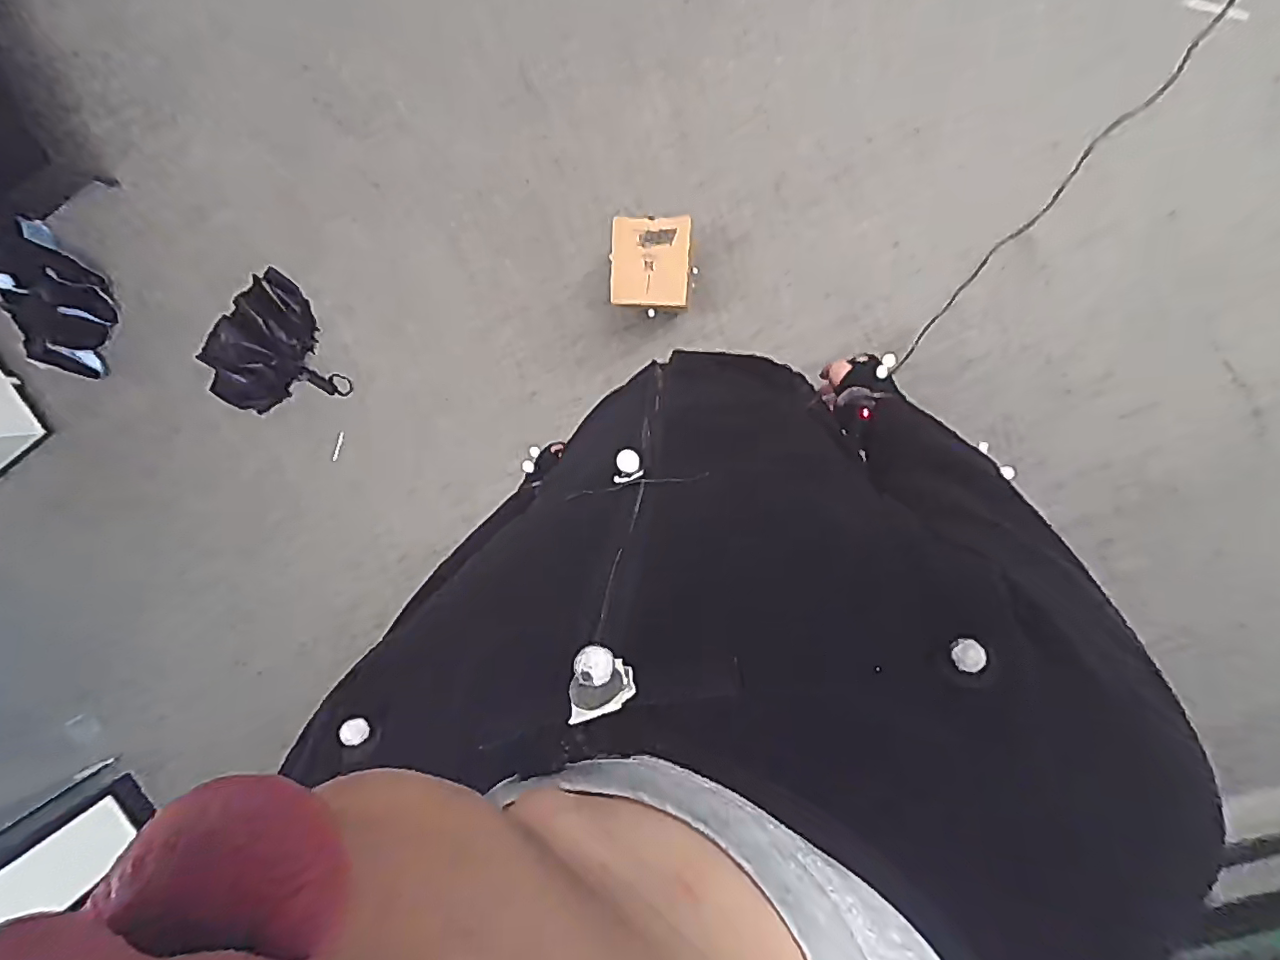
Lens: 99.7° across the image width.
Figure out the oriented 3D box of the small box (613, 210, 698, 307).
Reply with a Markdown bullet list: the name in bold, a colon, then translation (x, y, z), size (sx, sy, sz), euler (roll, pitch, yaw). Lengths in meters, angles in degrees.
- **small box**: translation (0.039, -0.490, 1.212), size (0.168, 0.176, 0.179), euler (5, 105, 9)
